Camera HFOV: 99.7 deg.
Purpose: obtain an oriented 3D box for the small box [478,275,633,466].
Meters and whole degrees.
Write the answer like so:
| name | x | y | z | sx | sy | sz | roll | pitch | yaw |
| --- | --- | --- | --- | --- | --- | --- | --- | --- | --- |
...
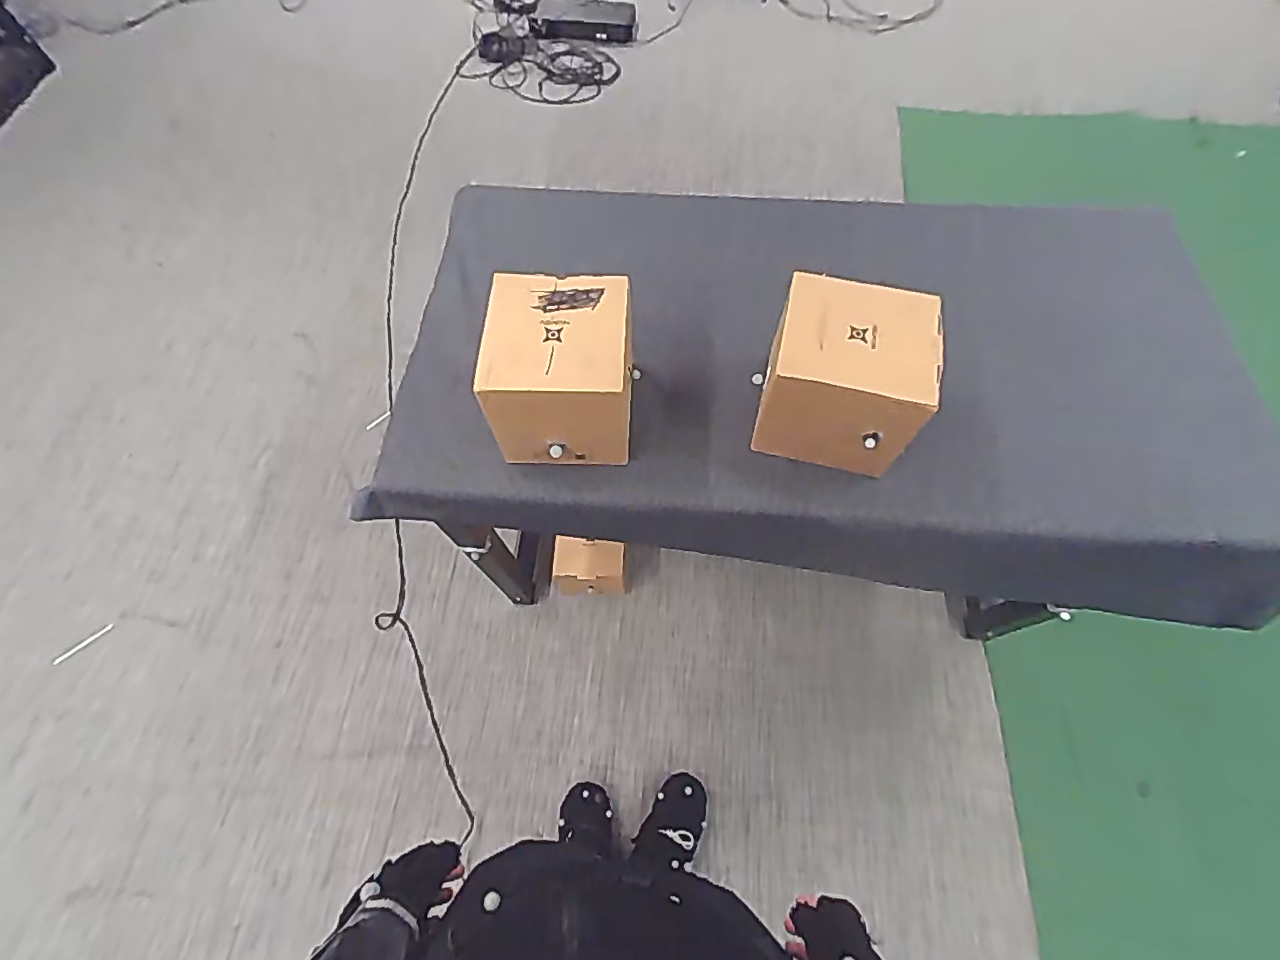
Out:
| name | x | y | z | sx | sy | sz | roll | pitch | yaw |
| --- | --- | --- | --- | --- | --- | --- | --- | --- | --- |
| small box | -0.094 | -0.136 | 0.695 | 0.168 | 0.176 | 0.179 | 1 | 63 | 1 |

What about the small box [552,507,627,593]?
| name | x | y | z | sx | sy | sz | roll | pitch | yaw |
| --- | --- | --- | --- | --- | --- | --- | --- | --- | --- |
| small box | -0.119 | 0.181 | 1.355 | 0.168 | 0.176 | 0.179 | 1 | 64 | 1 |

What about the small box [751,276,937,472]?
| name | x | y | z | sx | sy | sz | roll | pitch | yaw |
| --- | --- | --- | --- | --- | --- | --- | --- | --- | --- |
| small box | 0.252 | -0.128 | 0.693 | 0.179 | 0.176 | 0.168 | 12 | 63 | 7 |
